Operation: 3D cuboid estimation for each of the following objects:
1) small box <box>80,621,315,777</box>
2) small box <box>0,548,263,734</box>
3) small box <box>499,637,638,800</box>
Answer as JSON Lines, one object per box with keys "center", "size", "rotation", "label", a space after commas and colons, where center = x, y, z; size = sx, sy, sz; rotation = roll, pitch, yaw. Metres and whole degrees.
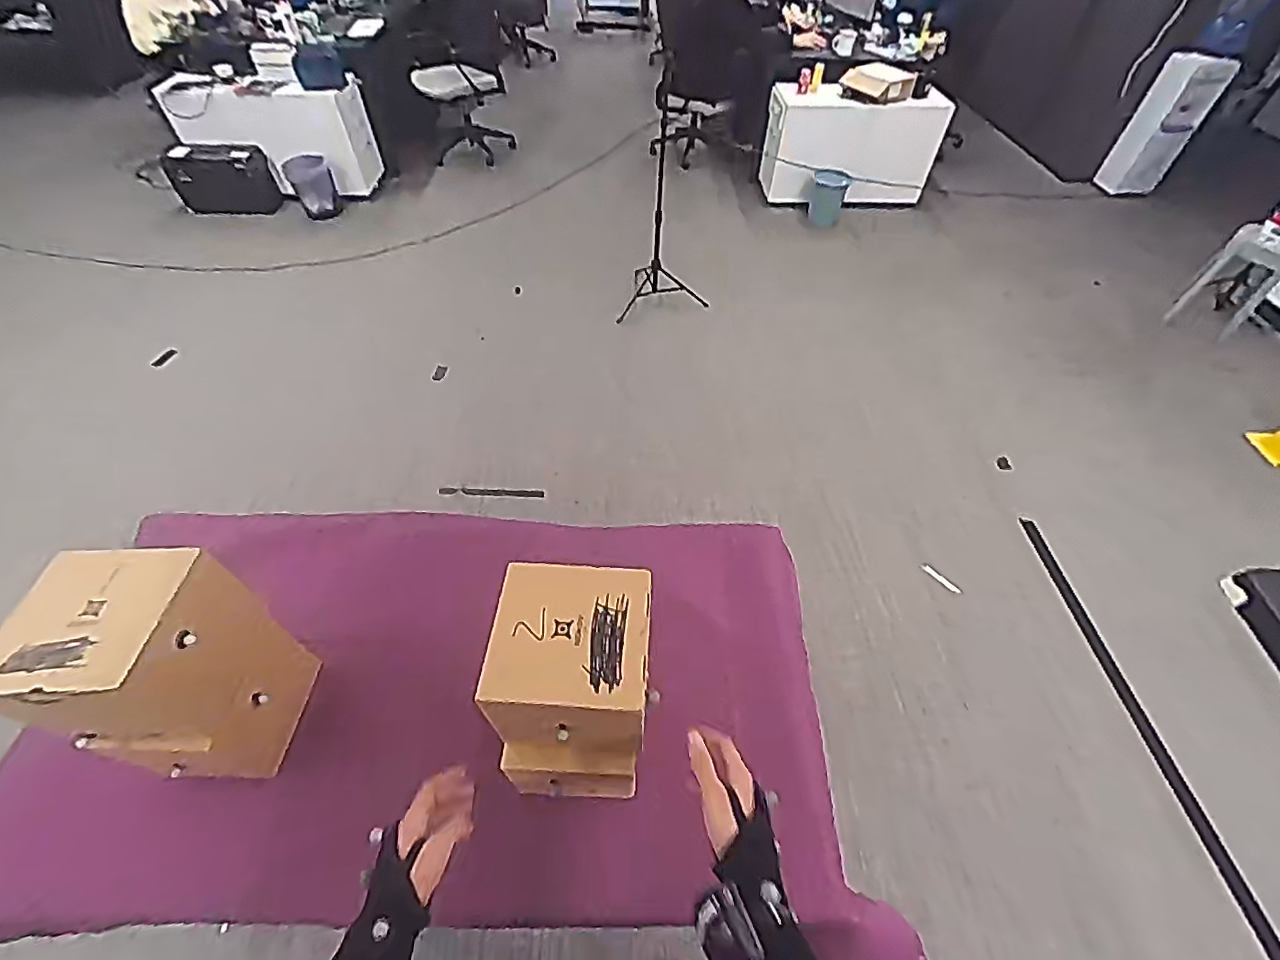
{"center": [-0.609, 0.314, 0.779], "size": [0.168, 0.176, 0.179], "rotation": [3, 50, 0], "label": "small box"}
{"center": [-0.608, 0.200, 0.660], "size": [0.168, 0.176, 0.179], "rotation": [0, 50, -3], "label": "small box"}
{"center": [-0.089, 0.345, 0.775], "size": [0.168, 0.176, 0.179], "rotation": [3, 49, 1], "label": "small box"}
